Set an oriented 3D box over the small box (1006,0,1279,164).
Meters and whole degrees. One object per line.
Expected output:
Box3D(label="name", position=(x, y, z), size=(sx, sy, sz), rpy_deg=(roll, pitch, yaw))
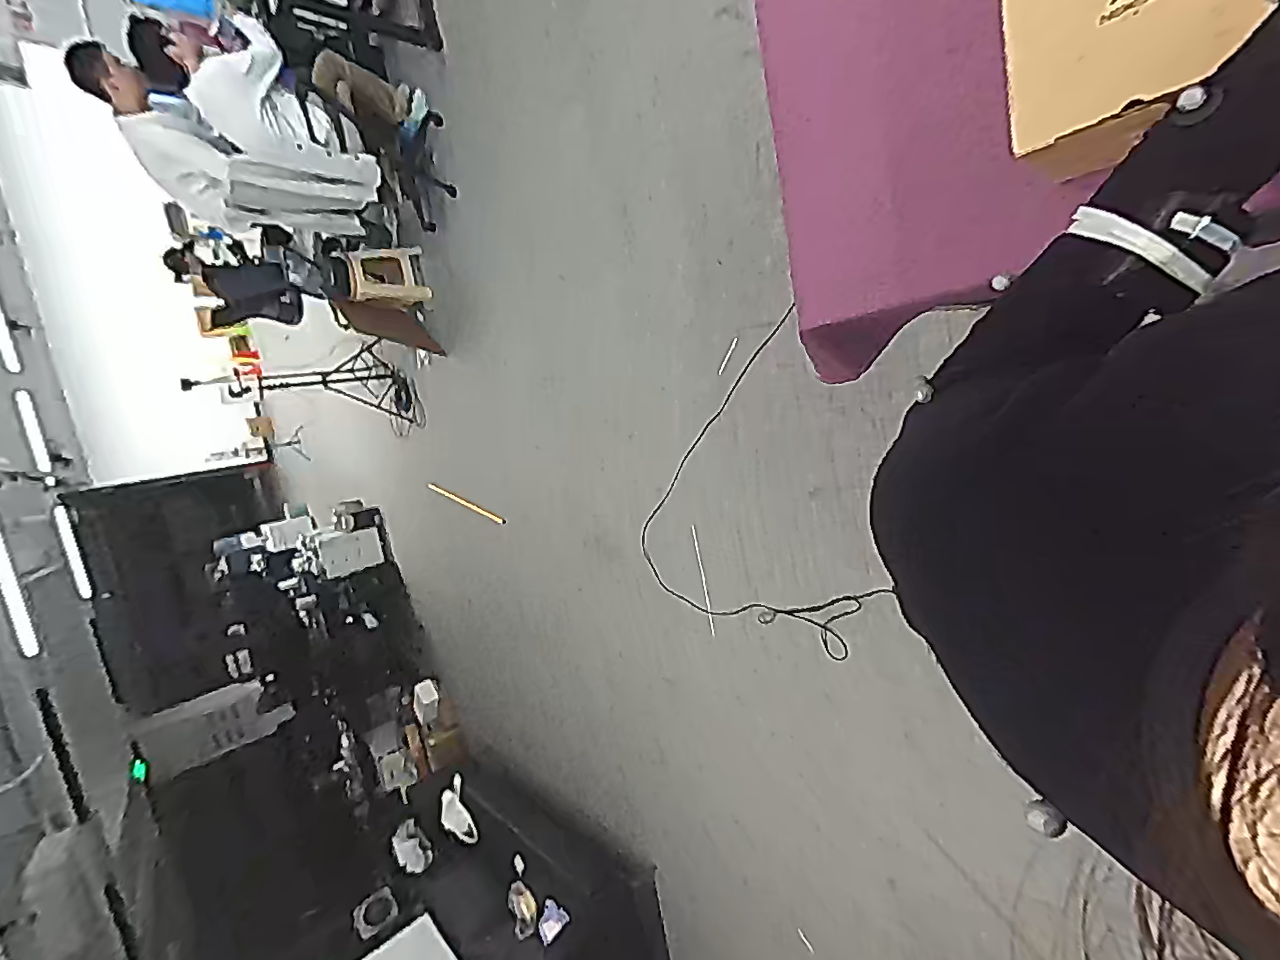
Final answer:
Box3D(label="small box", position=(0.444, -0.403, 0.474), size=(0.168, 0.176, 0.179), rpy_deg=(-1, 103, 49))
